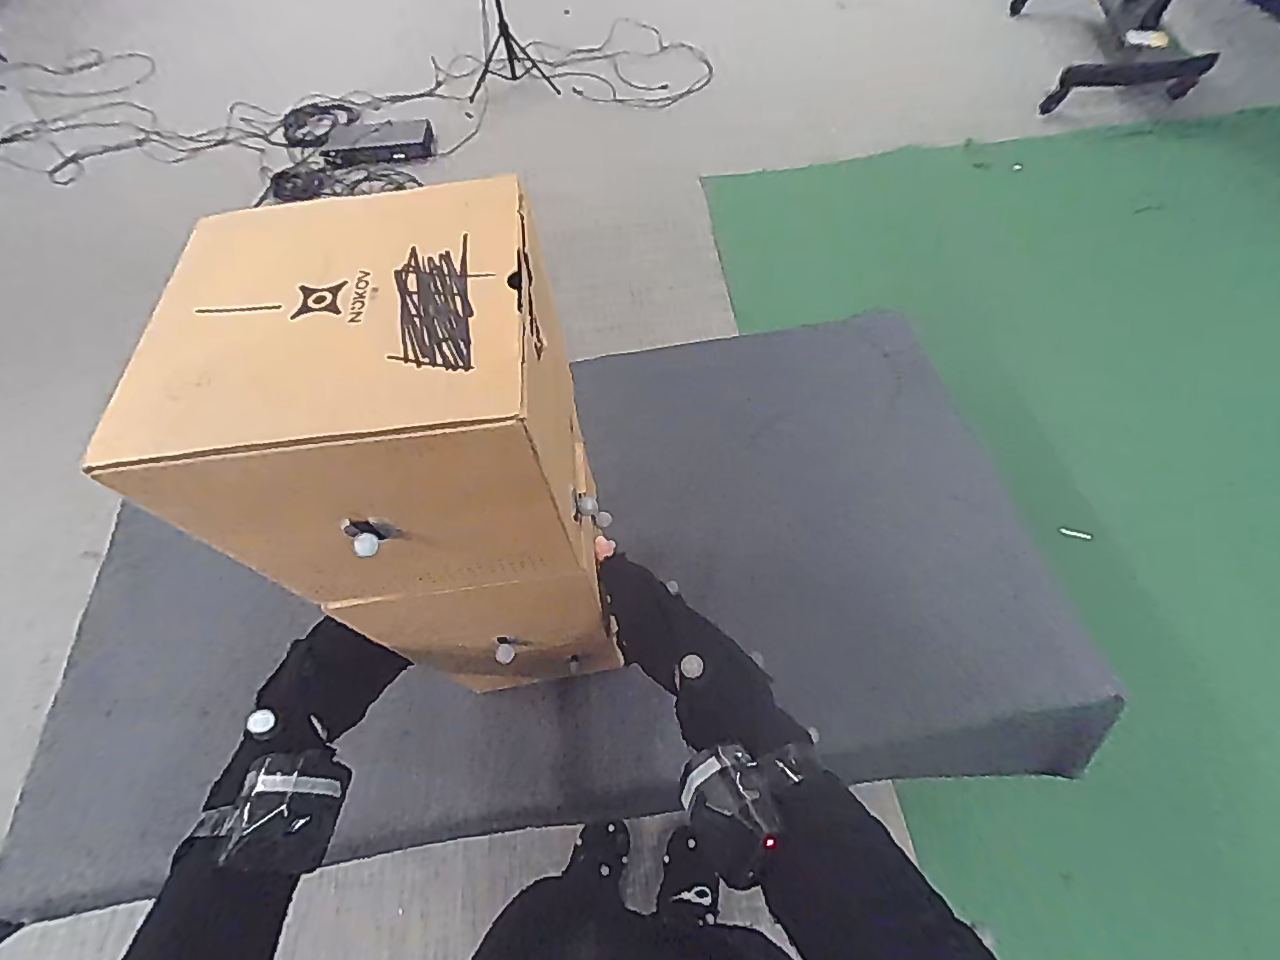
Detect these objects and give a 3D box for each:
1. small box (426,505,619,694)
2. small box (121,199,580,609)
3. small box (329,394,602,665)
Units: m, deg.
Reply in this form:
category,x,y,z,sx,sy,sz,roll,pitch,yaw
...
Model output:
category,x,y,z,sx,sy,sz,roll,pitch,yaw
small box,-0.122,0.130,0.611,0.179,0.176,0.168,-11,59,-2
small box,-0.133,-0.036,0.328,0.179,0.176,0.168,-9,59,-4
small box,-0.128,0.049,0.468,0.179,0.176,0.168,-8,58,-3
